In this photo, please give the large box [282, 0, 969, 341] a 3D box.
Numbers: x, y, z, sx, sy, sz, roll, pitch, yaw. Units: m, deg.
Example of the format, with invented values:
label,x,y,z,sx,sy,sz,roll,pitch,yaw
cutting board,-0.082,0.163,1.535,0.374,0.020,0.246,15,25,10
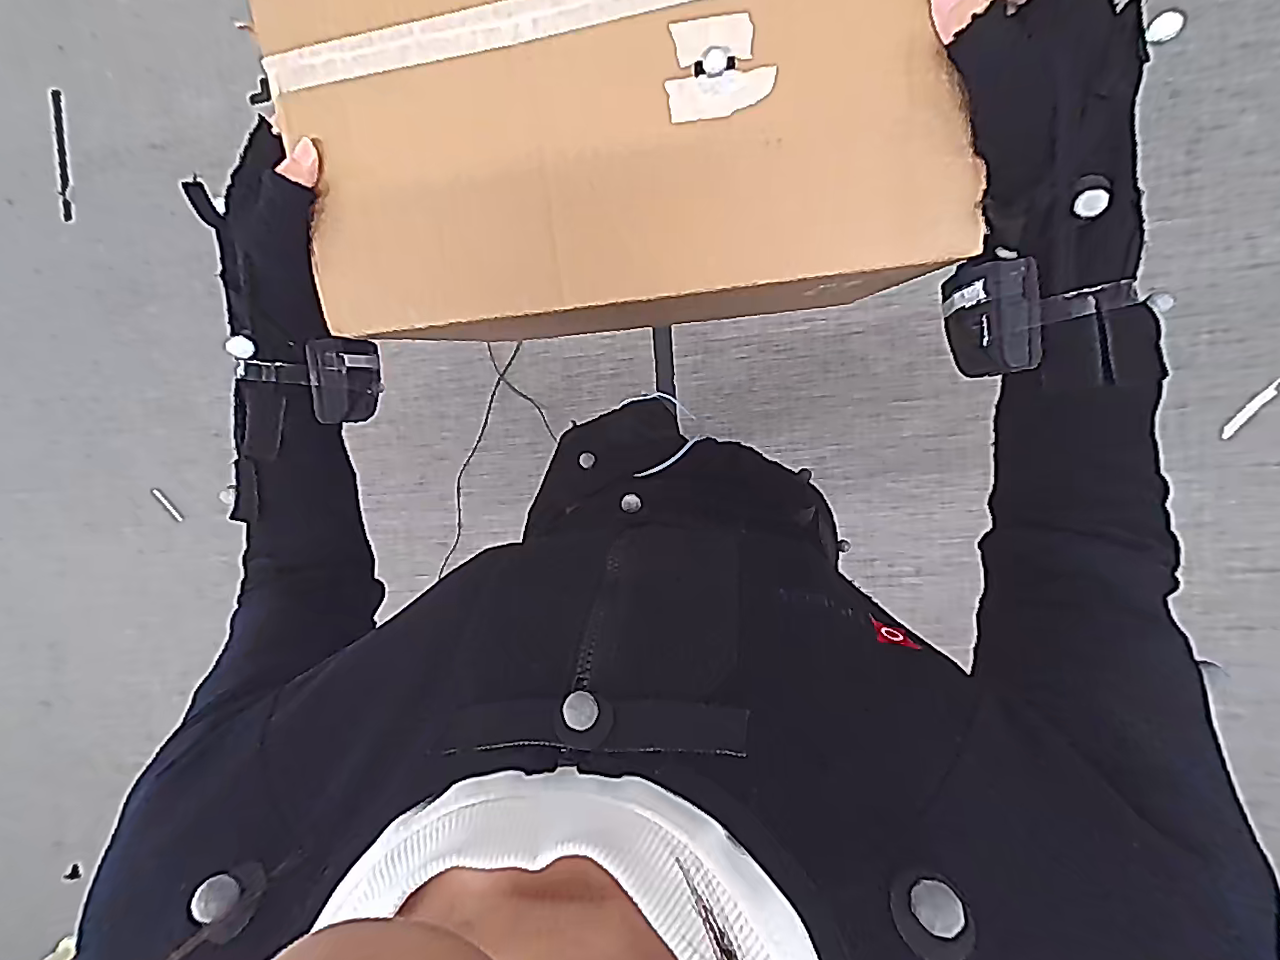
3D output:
label,x,y,z,sx,sy,sz,roll,pitch,yaw
large box,-0.004,-0.303,0.457,0.408,0.320,0.320,-5,103,9
